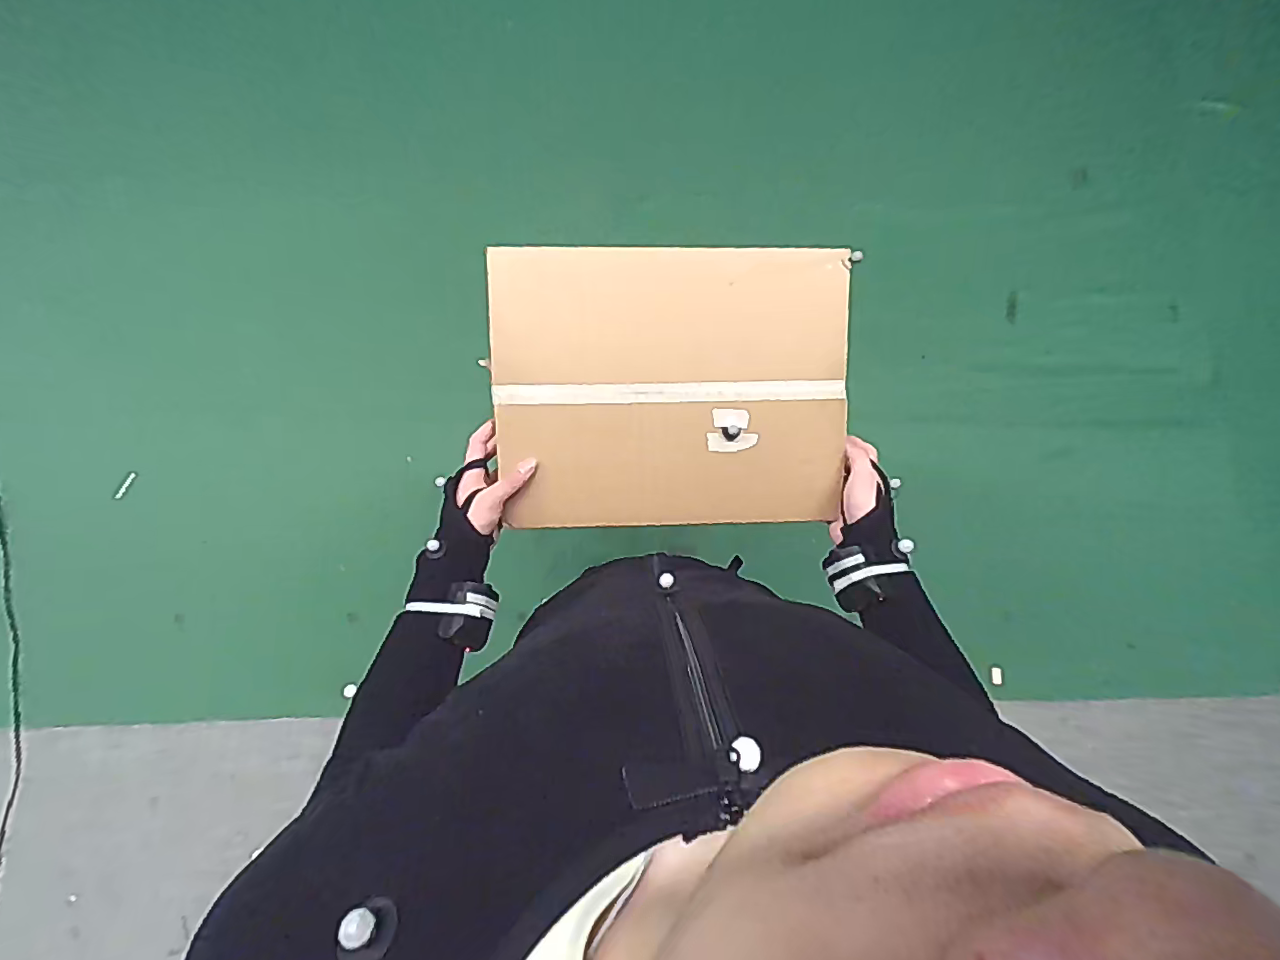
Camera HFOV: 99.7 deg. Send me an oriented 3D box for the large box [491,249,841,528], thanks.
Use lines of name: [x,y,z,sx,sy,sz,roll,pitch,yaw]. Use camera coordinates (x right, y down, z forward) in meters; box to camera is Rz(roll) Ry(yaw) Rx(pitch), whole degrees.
large box: [0.026,-0.123,0.773,0.408,0.320,0.320,-2,99,-4]
